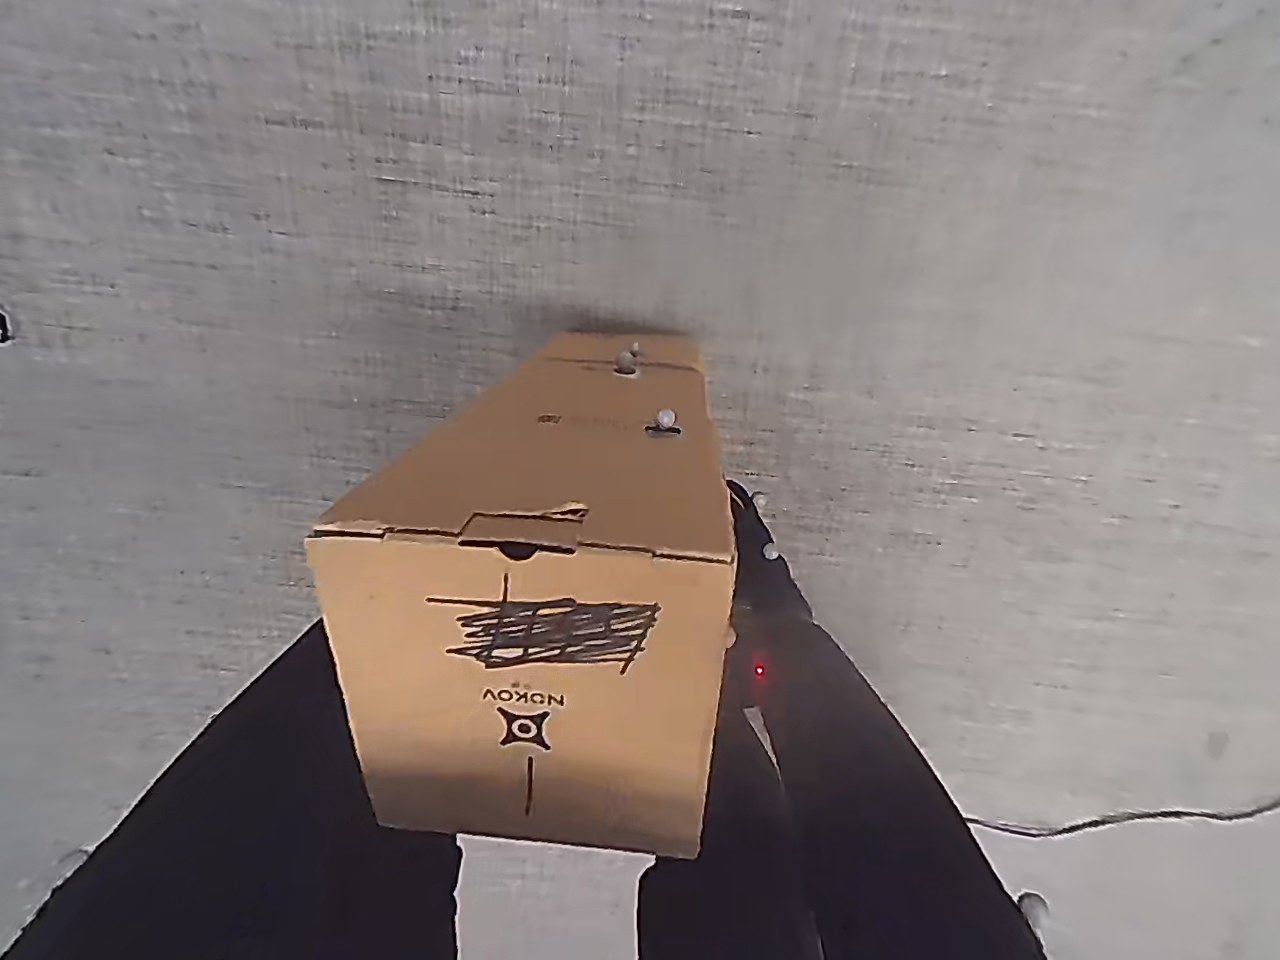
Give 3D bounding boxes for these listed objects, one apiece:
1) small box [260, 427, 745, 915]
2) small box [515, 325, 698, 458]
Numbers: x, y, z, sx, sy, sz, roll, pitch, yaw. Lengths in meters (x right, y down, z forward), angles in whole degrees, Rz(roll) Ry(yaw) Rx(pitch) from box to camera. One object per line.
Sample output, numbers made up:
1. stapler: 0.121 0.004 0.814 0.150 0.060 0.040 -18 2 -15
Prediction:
1. small box: -0.046 0.082 0.286 0.168 0.176 0.179 4 117 3
2. small box: -0.026 -0.060 0.582 0.168 0.176 0.179 3 115 3
